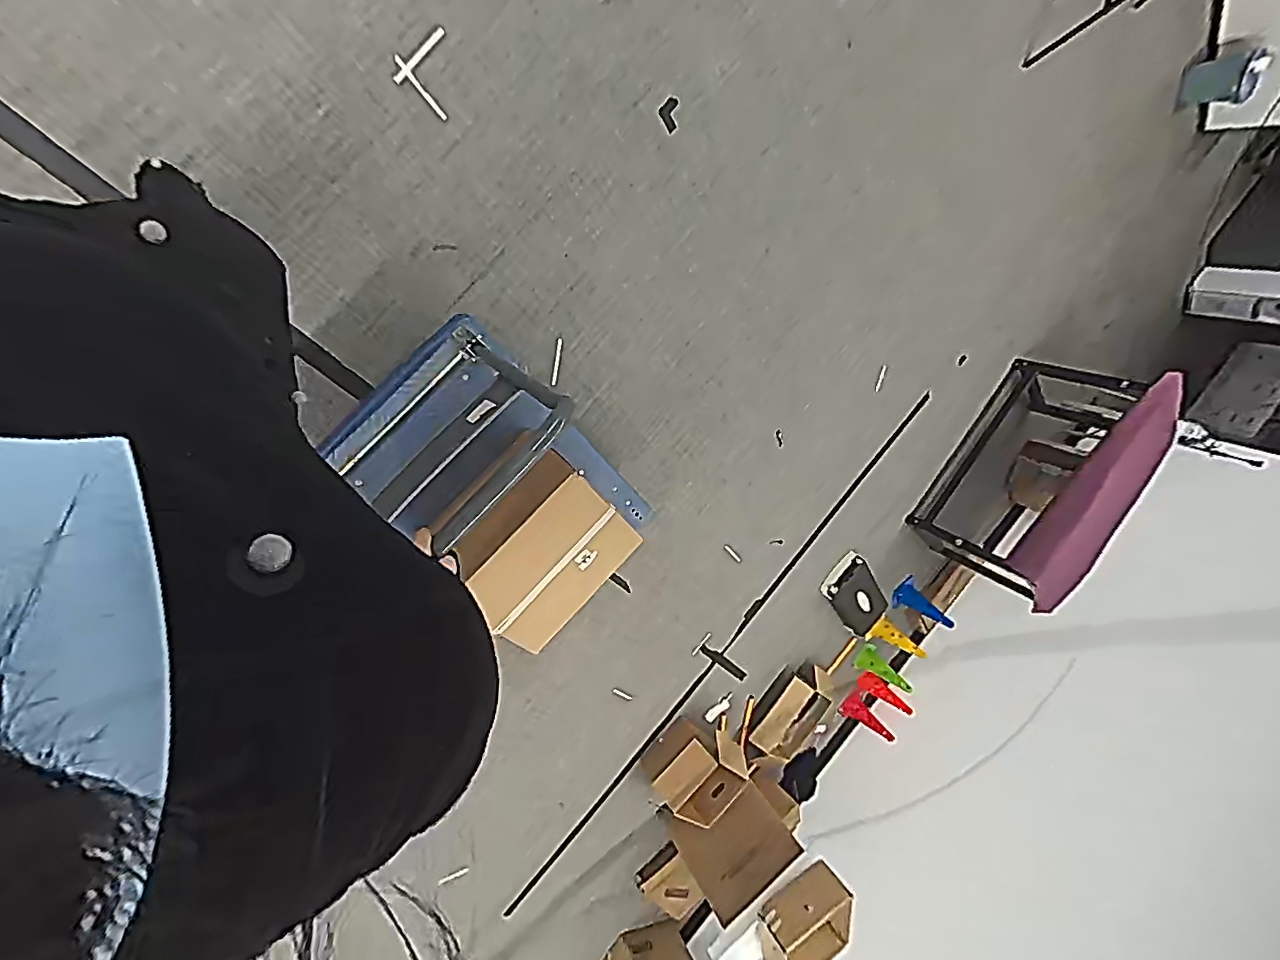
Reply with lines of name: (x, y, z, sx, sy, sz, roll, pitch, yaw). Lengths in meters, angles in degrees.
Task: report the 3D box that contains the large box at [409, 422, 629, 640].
large box: (-0.316, 0.122, 1.407, 0.408, 0.320, 0.320, -47, 132, -8)
